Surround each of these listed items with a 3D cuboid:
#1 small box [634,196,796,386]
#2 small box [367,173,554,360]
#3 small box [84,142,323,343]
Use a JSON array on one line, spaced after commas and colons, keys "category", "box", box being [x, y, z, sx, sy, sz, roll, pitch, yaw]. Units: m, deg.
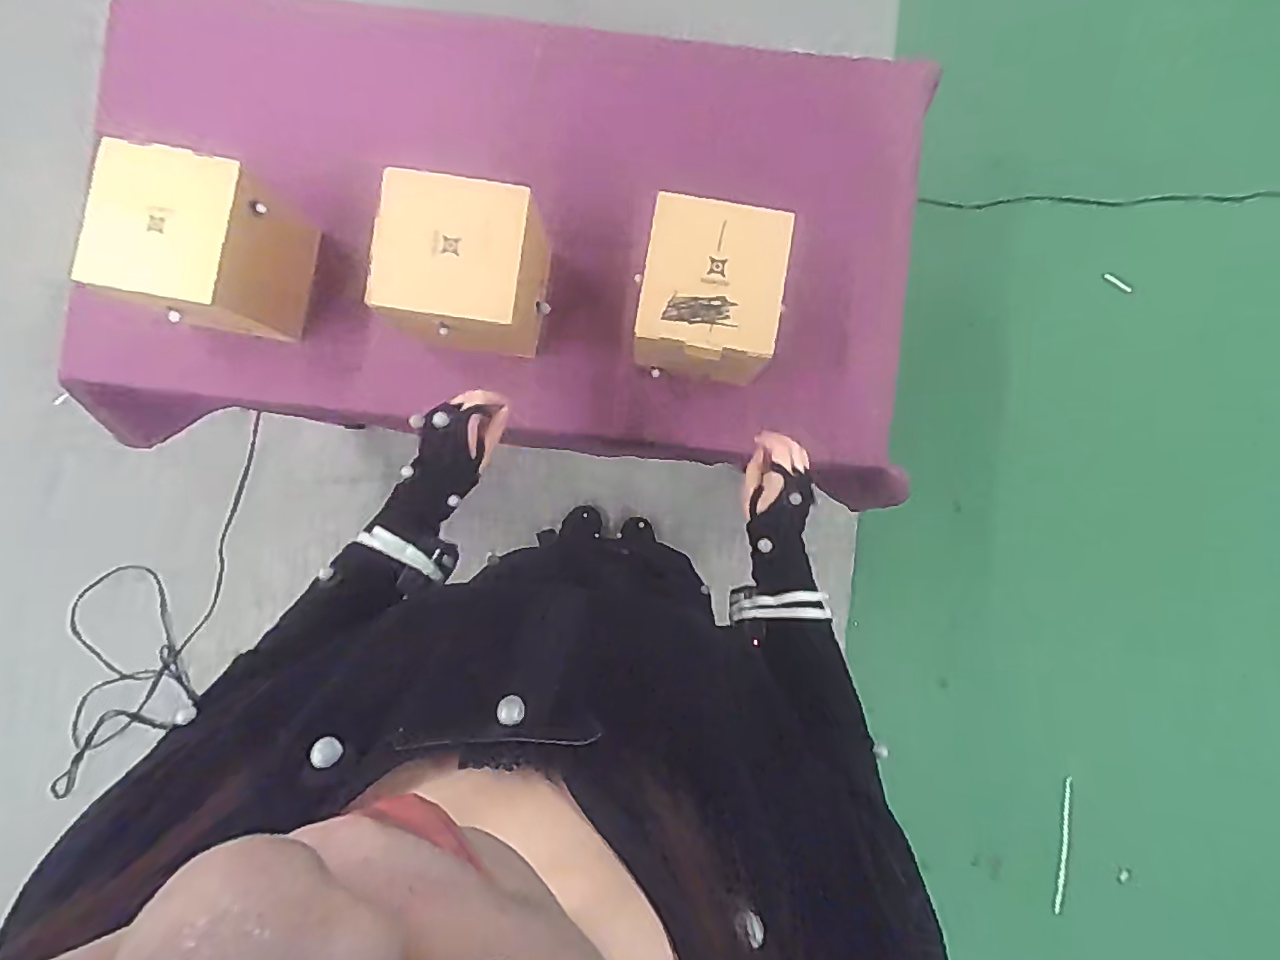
[{"category": "small box", "box": [0.089, -0.233, 0.711, 0.168, 0.176, 0.179, 10, 87, 0]}, {"category": "small box", "box": [-0.222, -0.267, 0.714, 0.179, 0.176, 0.168, 9, 88, -1]}, {"category": "small box", "box": [-0.555, -0.297, 0.714, 0.168, 0.176, 0.179, 10, 87, 0]}]
